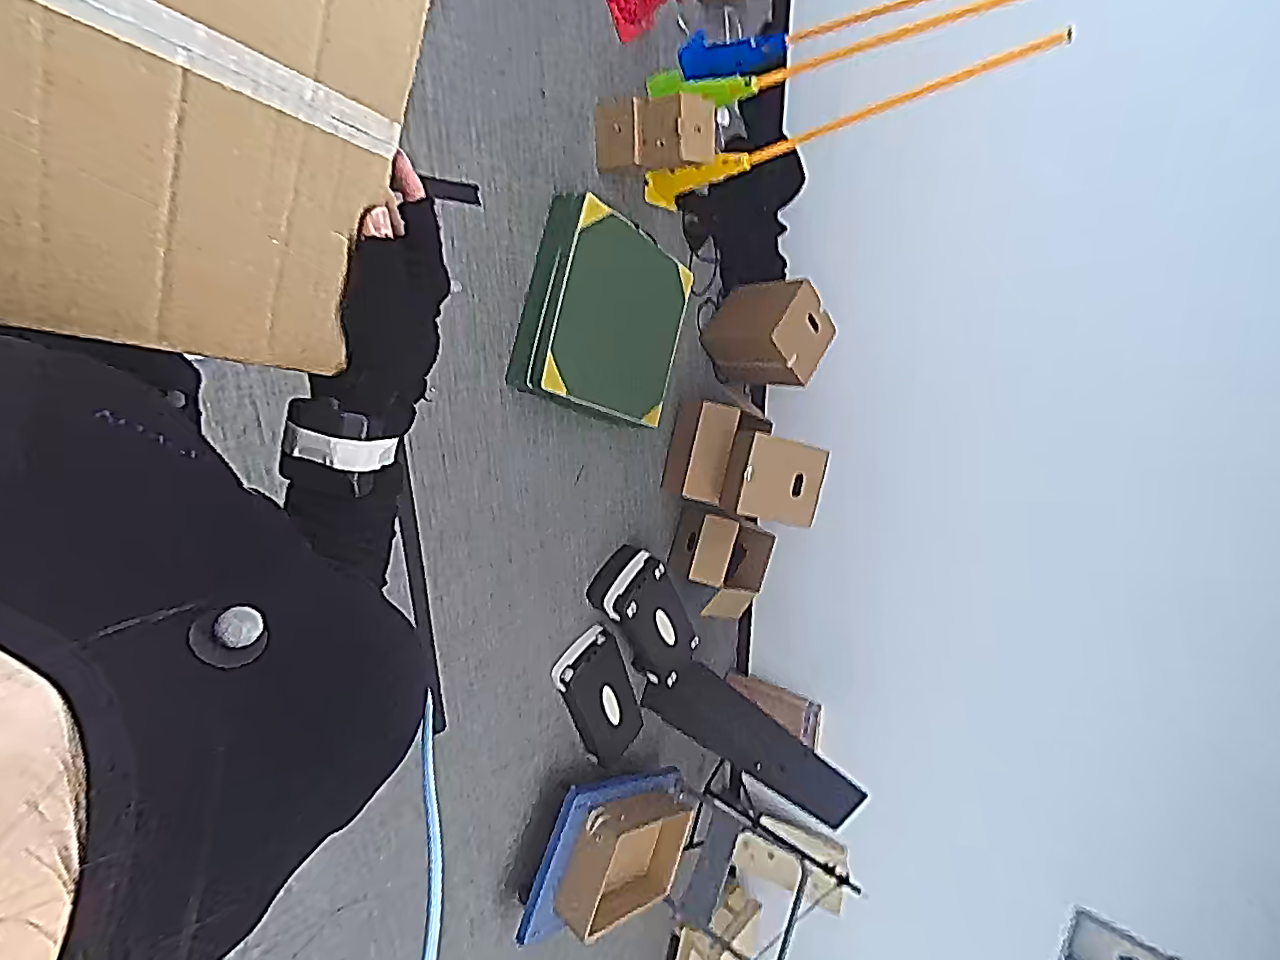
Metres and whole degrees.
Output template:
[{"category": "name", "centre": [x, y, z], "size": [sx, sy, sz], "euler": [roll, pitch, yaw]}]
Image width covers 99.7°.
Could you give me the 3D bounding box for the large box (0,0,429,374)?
[{"category": "large box", "centre": [-0.385, -0.285, 0.293], "size": [0.408, 0.320, 0.320], "euler": [3, 120, -46]}]
